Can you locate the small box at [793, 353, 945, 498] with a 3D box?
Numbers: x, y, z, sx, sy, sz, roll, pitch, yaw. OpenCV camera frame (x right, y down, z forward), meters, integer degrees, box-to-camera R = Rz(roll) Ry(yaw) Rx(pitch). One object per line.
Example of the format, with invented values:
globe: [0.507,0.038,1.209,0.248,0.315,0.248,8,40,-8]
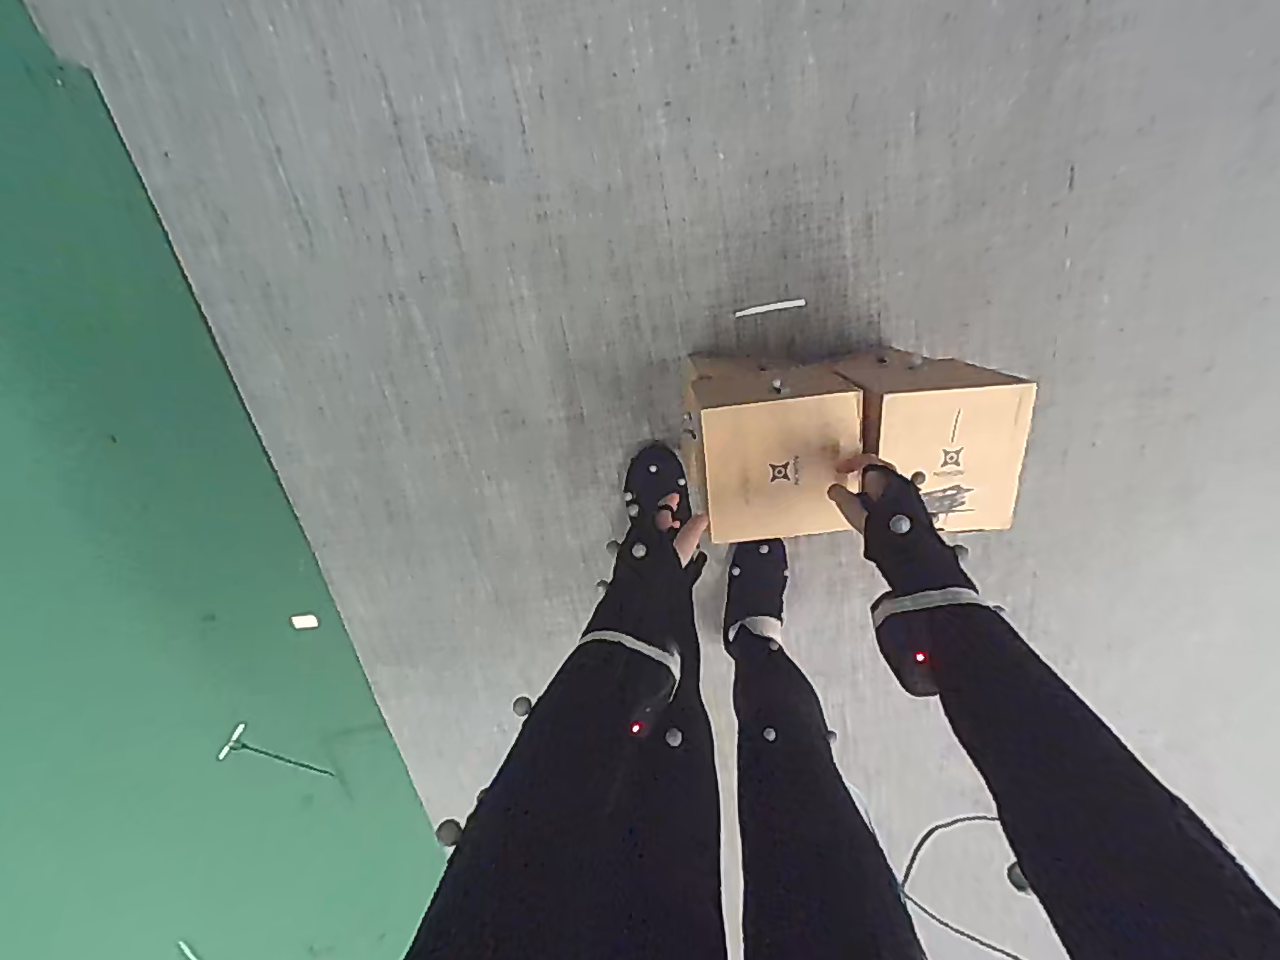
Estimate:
small box: [0.342,-0.093,0.833,0.168,0.176,0.179,-10,111,3]
